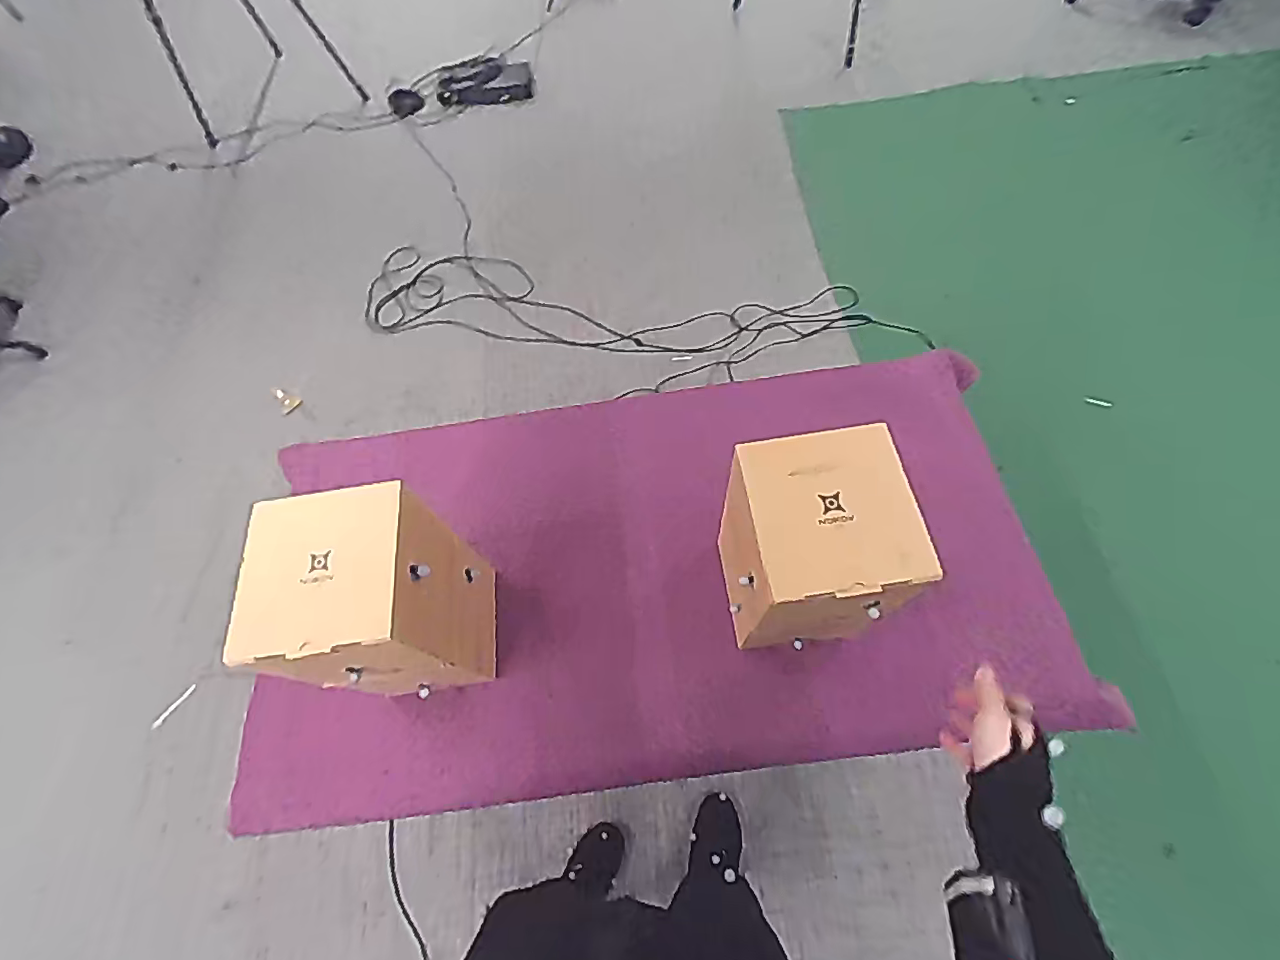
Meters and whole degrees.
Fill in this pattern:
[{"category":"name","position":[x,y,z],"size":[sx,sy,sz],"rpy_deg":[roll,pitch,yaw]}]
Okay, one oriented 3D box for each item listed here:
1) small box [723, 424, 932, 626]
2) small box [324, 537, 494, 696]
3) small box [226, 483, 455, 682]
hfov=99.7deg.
[{"category":"small box","position":[0.193,0.062,0.618],"size":[0.168,0.176,0.179],"rpy_deg":[-8,63,1]},{"category":"small box","position":[-0.316,0.201,0.777],"size":[0.168,0.176,0.179],"rpy_deg":[-9,63,1]},{"category":"small box","position":[-0.327,0.126,0.633],"size":[0.168,0.176,0.179],"rpy_deg":[-9,63,0]}]
